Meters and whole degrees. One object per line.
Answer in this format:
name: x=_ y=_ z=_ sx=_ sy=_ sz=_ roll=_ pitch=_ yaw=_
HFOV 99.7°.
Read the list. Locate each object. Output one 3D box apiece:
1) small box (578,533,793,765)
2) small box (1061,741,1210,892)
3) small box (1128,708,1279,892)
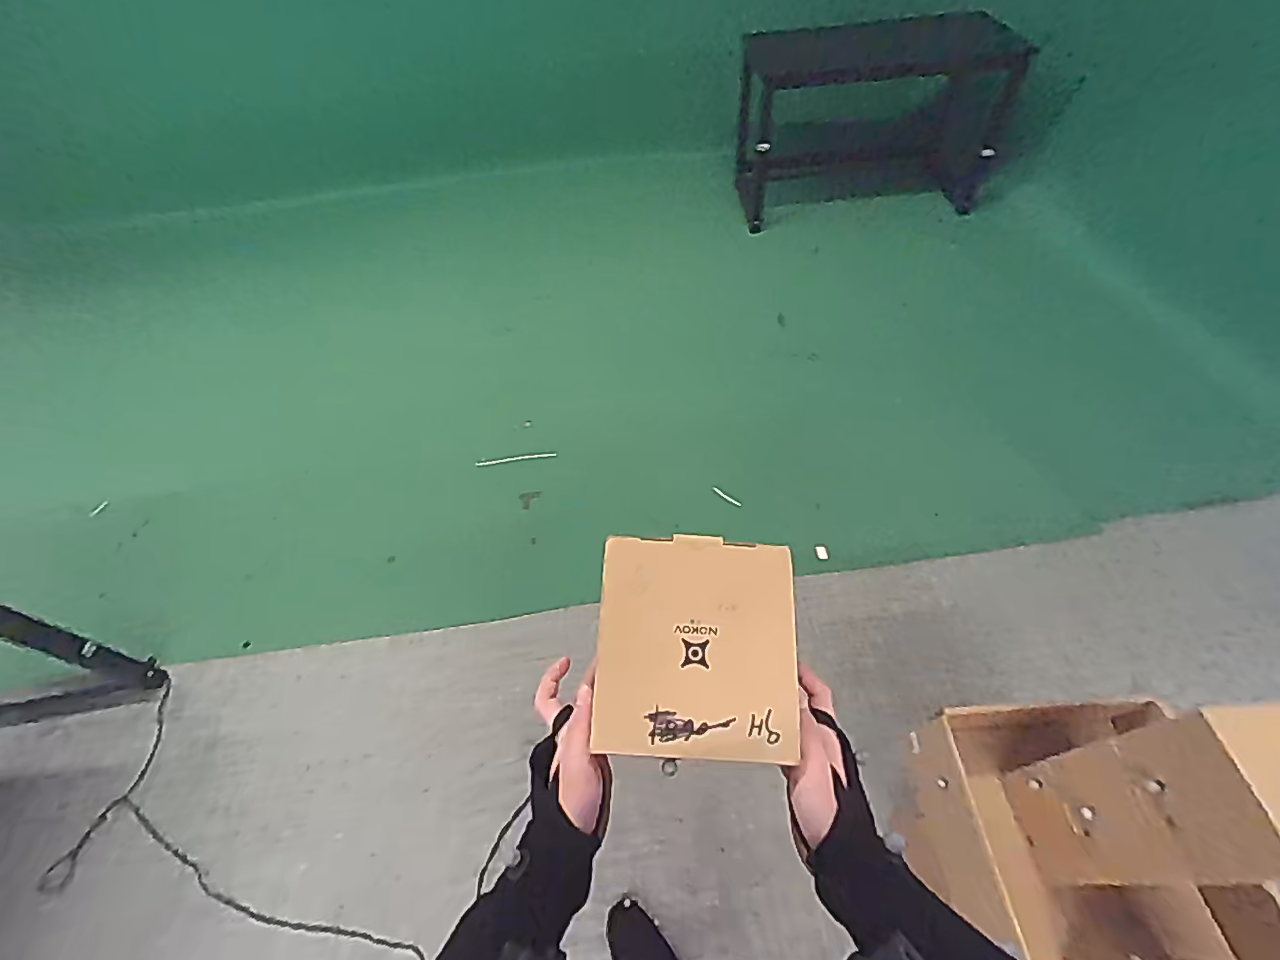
small box: x=0.038 y=0.162 z=0.512 sx=0.168 sy=0.176 sz=0.179 roll=2 pitch=67 yaw=1
small box: x=0.749 y=0.465 z=0.750 sx=0.179 sy=0.176 sz=0.168 roll=-4 pitch=52 yaw=2
small box: x=0.738 y=0.368 z=0.620 sx=0.179 sy=0.176 sz=0.168 roll=-4 pitch=52 yaw=2
